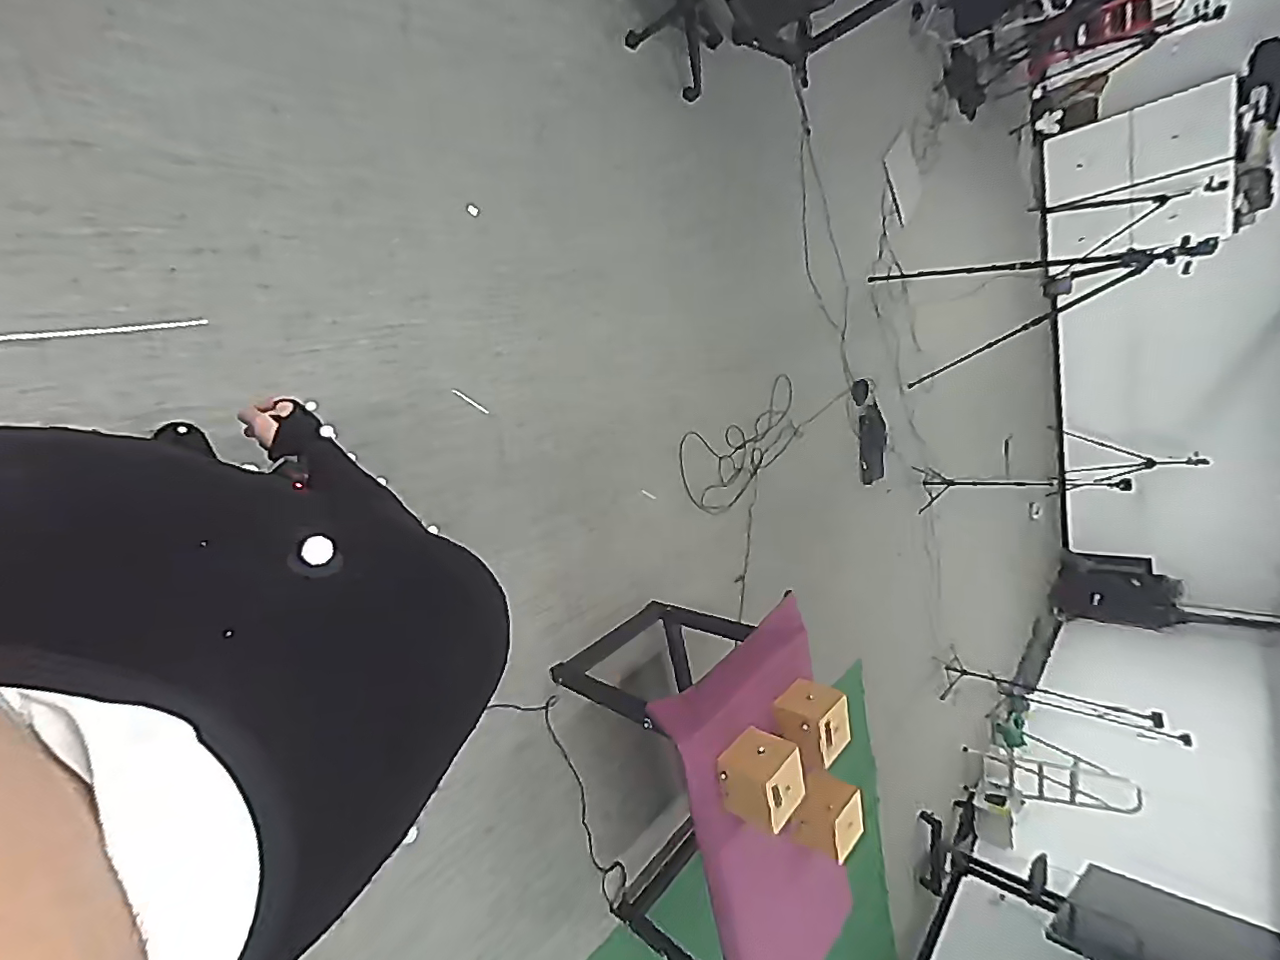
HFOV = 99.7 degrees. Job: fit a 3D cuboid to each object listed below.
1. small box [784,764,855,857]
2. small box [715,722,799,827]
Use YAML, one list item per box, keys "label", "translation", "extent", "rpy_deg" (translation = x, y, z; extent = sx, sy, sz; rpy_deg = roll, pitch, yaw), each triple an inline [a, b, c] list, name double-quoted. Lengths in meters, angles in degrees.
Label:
- label: "small box"
  translation: [0.603, 1.102, 1.822]
  extent: [0.179, 0.176, 0.168]
  rpy_deg: [-18, 104, -41]
- label: "small box"
  translation: [0.329, 0.833, 1.547]
  extent: [0.179, 0.176, 0.168]
  rpy_deg: [-22, 106, -43]
